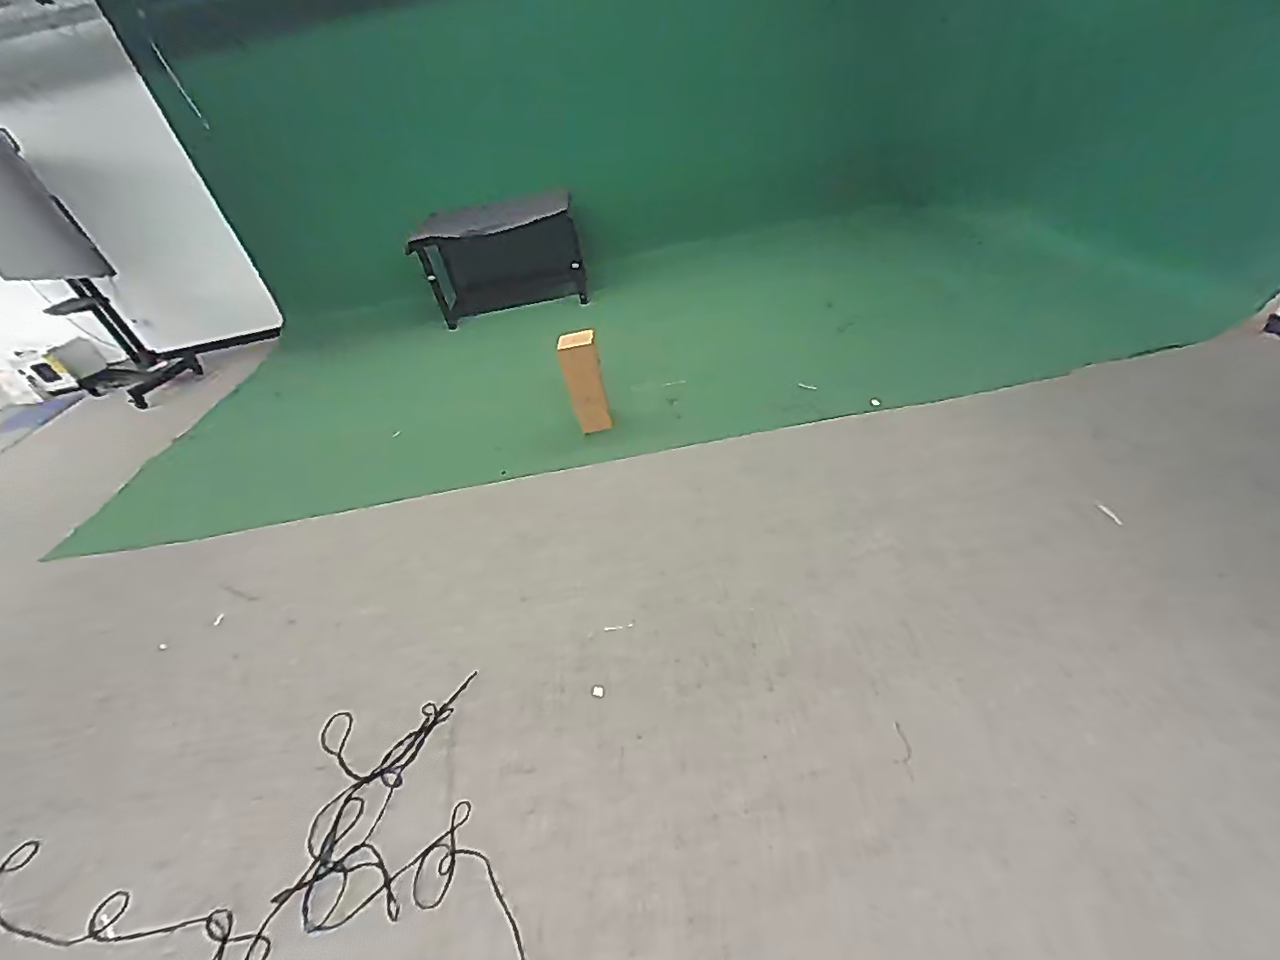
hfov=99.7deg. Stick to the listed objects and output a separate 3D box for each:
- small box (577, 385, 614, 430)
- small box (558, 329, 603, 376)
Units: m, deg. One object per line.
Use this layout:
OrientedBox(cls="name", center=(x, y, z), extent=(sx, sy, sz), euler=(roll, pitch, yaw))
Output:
OrientedBox(cls="small box", center=(-0.237, -0.383, 2.907), extent=(0.168, 0.176, 0.179), euler=(-10, 37, 4))
OrientedBox(cls="small box", center=(-0.293, -0.633, 2.700), extent=(0.179, 0.176, 0.168), euler=(-8, 39, 6))
